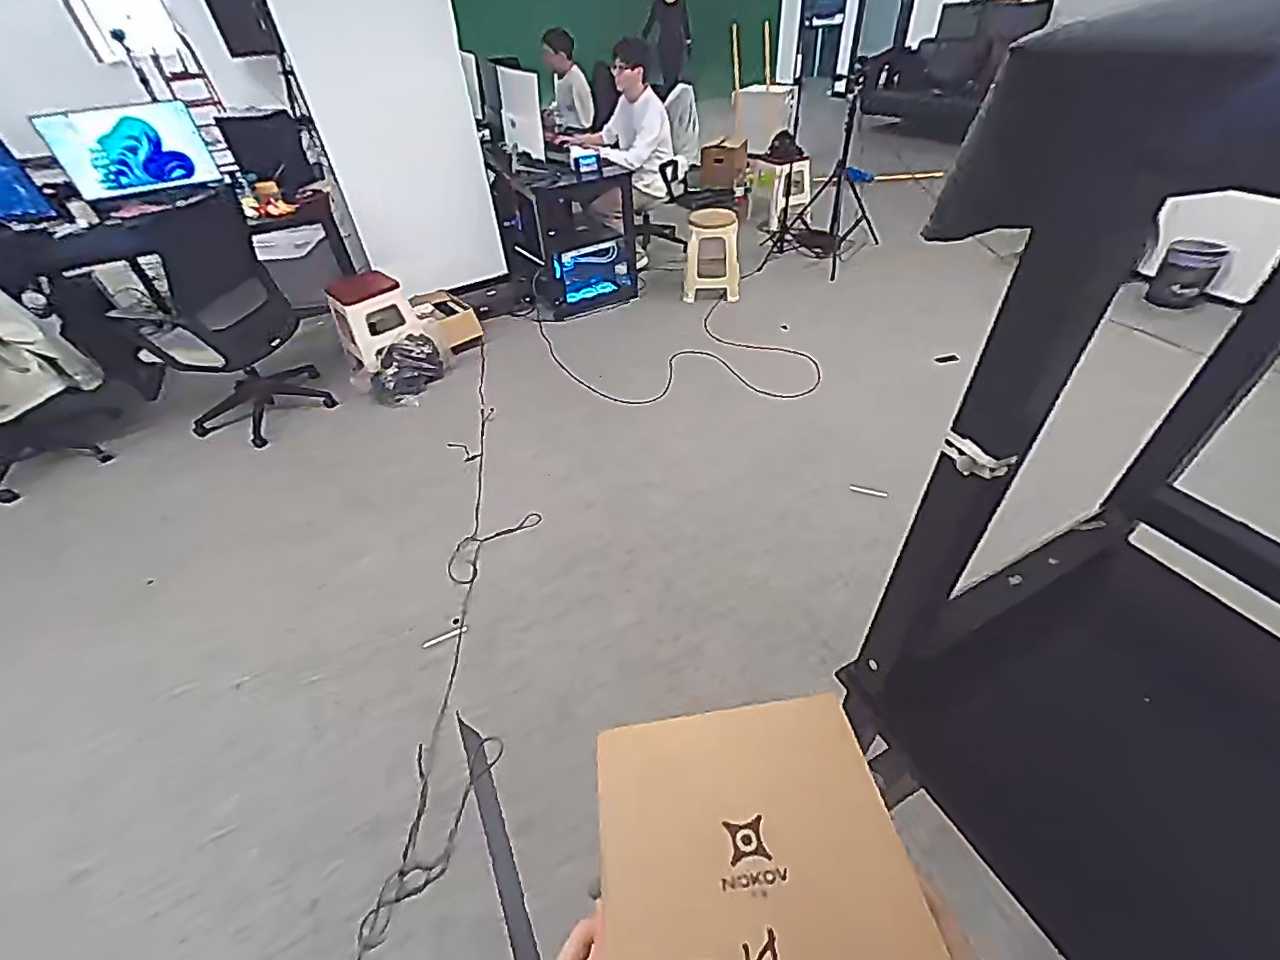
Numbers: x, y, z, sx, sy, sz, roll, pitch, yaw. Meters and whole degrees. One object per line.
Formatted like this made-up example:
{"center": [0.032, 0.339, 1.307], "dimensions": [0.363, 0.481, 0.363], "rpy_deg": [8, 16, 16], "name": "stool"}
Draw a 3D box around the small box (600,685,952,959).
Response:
{"center": [0.069, 0.264, 0.343], "dimensions": [0.168, 0.176, 0.179], "rpy_deg": [-10, 37, 1], "name": "small box"}
